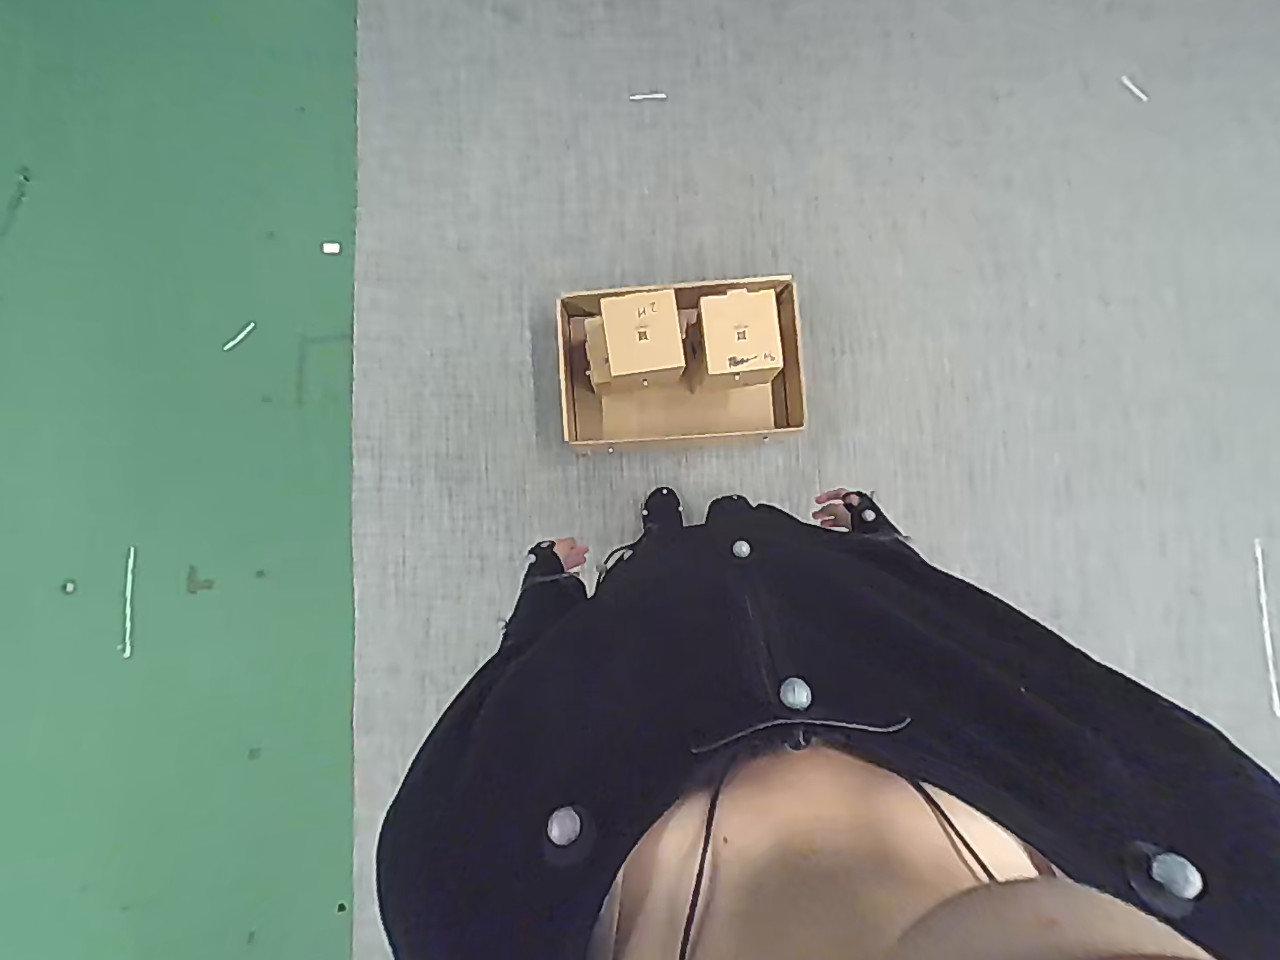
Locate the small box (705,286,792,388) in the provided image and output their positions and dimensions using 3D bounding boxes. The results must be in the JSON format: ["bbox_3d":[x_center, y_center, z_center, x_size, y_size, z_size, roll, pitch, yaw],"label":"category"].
[{"bbox_3d":[0.243,-0.324,1.249,0.168,0.176,0.179,-6,87,4],"label":"small box"}]

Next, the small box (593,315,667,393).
[{"bbox_3d":[-0.021,-0.331,1.425,0.179,0.176,0.168,-7,88,0],"label":"small box"}]

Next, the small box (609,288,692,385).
[{"bbox_3d":[0.024,-0.324,1.261,0.168,0.176,0.179,-8,88,-1],"label":"small box"}]

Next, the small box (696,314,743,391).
[{"bbox_3d":[0.242,-0.339,1.414,0.179,0.176,0.168,-10,87,2],"label":"small box"}]
